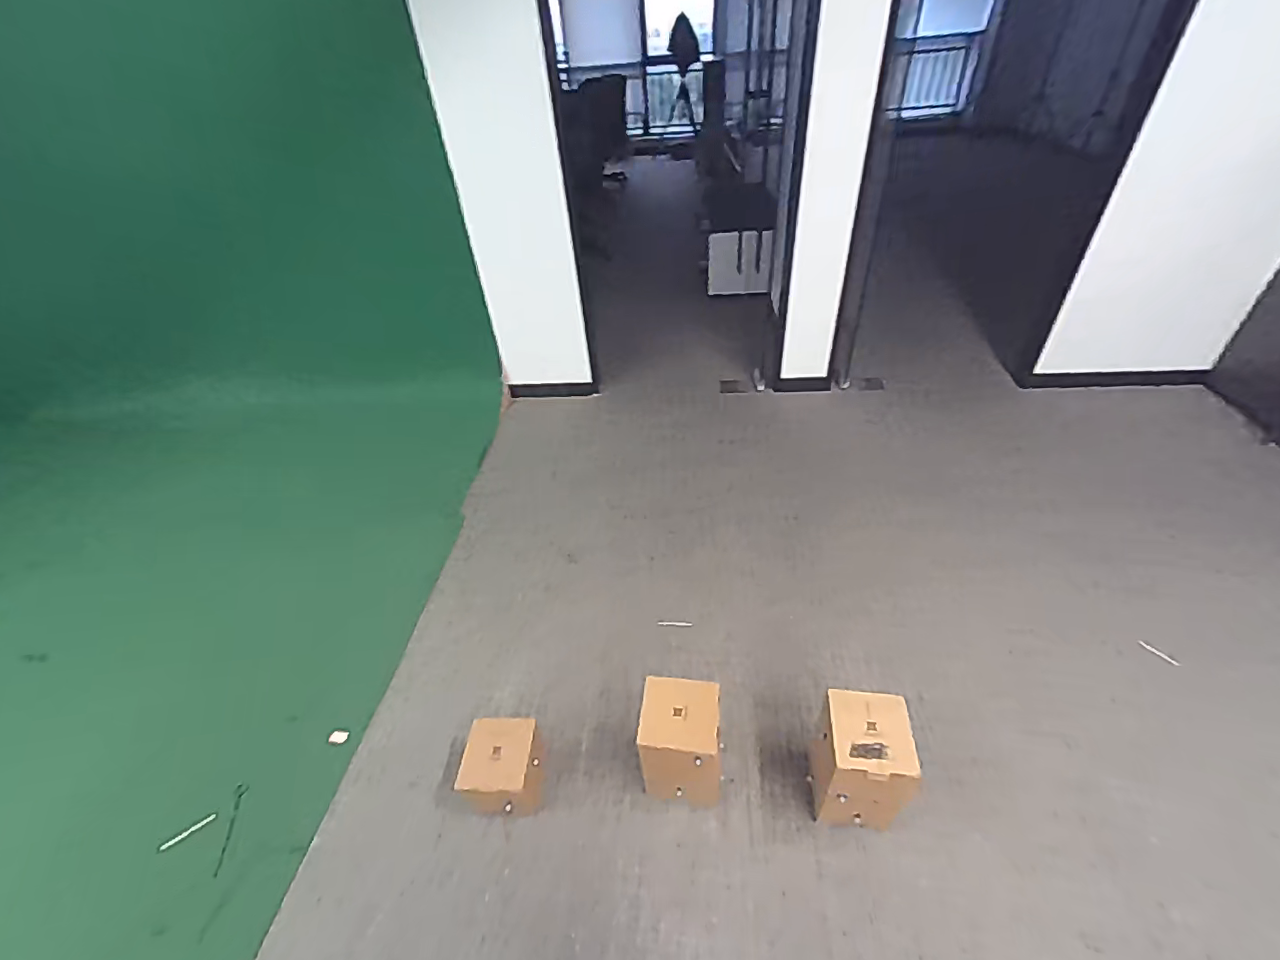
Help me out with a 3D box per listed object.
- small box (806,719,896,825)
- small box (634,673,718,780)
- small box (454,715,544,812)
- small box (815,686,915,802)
[{"bbox_3d":[0.504,0.712,1.315,0.168,0.176,0.179,2,41,8],"label":"small box"},{"bbox_3d":[0.090,0.577,1.264,0.179,0.176,0.168,3,40,9],"label":"small box"},{"bbox_3d":[-0.350,0.729,1.386,0.168,0.176,0.179,0,40,5],"label":"small box"},{"bbox_3d":[0.491,0.589,1.205,0.168,0.176,0.179,3,40,9],"label":"small box"}]
